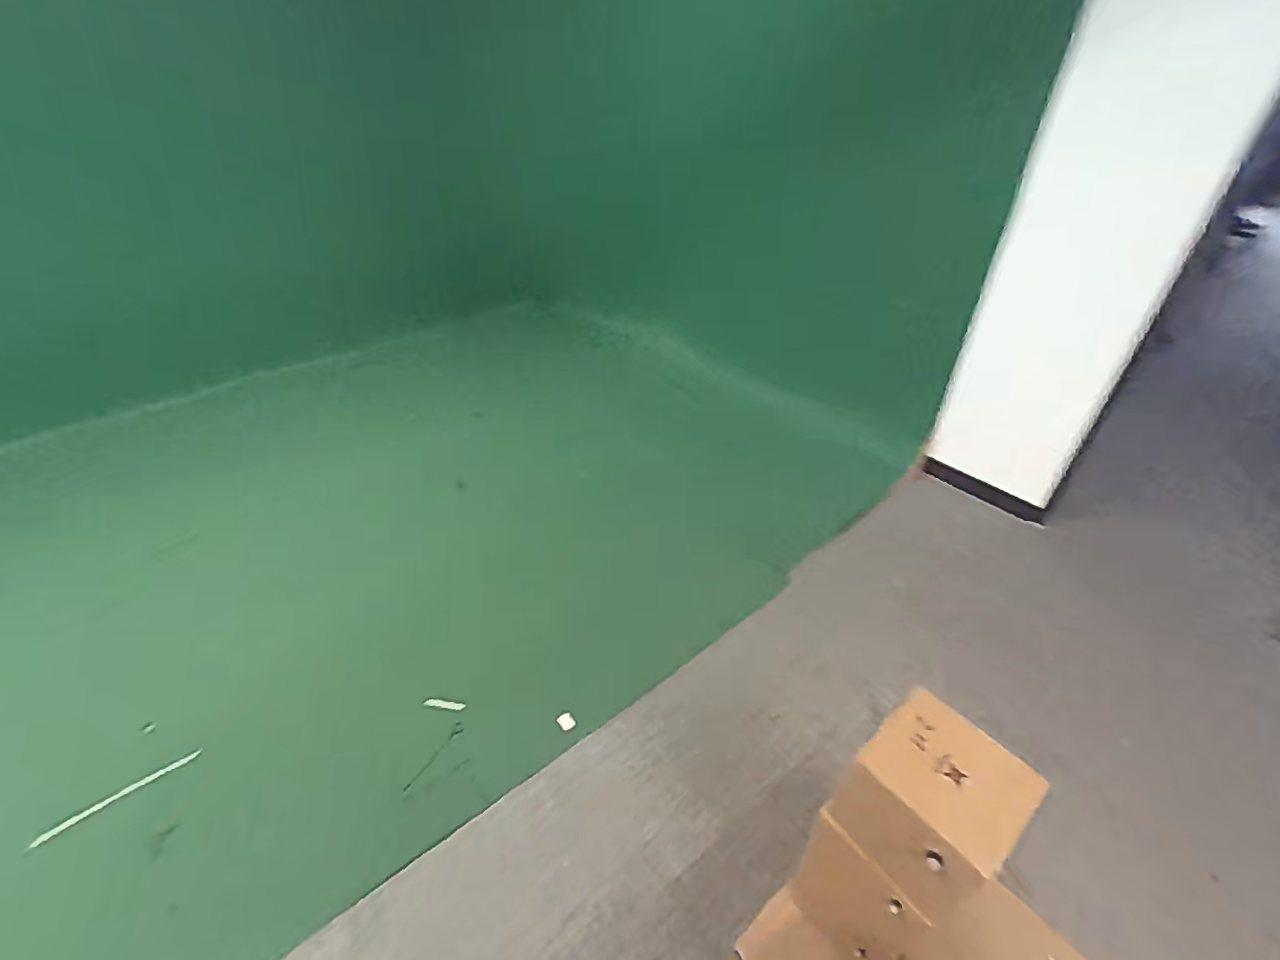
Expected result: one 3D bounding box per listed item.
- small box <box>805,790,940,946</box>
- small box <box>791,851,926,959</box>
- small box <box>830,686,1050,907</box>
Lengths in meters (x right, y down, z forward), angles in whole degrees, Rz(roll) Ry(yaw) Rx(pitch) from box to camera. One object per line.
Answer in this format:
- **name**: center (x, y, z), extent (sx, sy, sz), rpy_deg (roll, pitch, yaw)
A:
- **small box**: center (0.381, 0.556, 0.831), extent (0.168, 0.176, 0.179), rpy_deg (-26, 45, -30)
- **small box**: center (0.385, 0.689, 0.924), extent (0.168, 0.176, 0.179), rpy_deg (-27, 44, -31)
- **small box**: center (0.389, 0.427, 0.727), extent (0.168, 0.176, 0.179), rpy_deg (-24, 43, -29)
